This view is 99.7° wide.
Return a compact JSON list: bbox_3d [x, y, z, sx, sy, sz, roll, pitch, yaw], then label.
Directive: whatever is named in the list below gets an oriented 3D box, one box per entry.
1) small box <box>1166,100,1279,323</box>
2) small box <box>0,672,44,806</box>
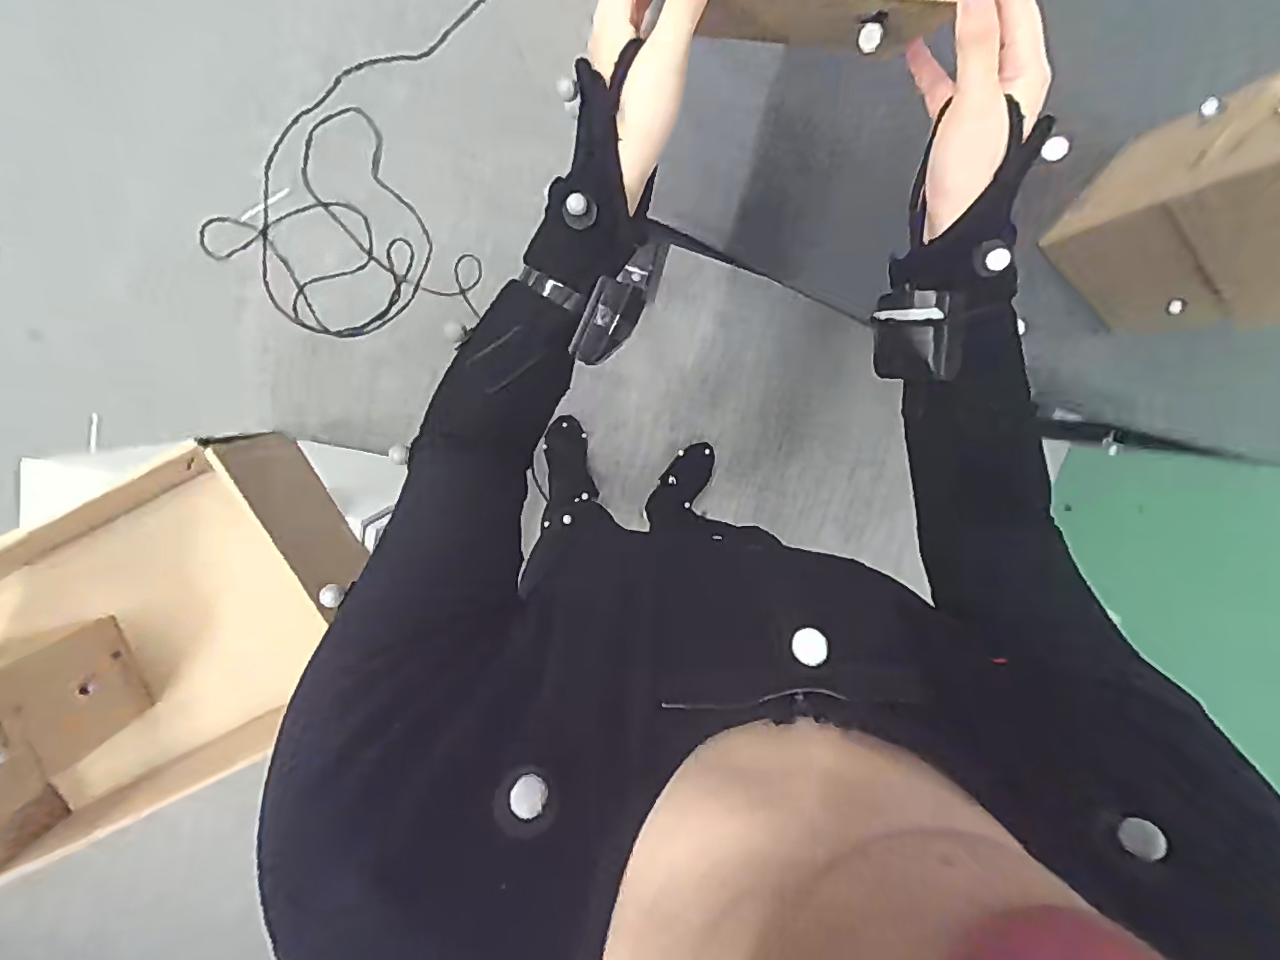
[{"bbox_3d":[0.644,-0.256,0.473,0.168,0.176,0.179,-41,98,3],"label":"small box"},{"bbox_3d":[-0.842,0.330,0.589,0.179,0.176,0.168,-11,102,-3],"label":"small box"}]
